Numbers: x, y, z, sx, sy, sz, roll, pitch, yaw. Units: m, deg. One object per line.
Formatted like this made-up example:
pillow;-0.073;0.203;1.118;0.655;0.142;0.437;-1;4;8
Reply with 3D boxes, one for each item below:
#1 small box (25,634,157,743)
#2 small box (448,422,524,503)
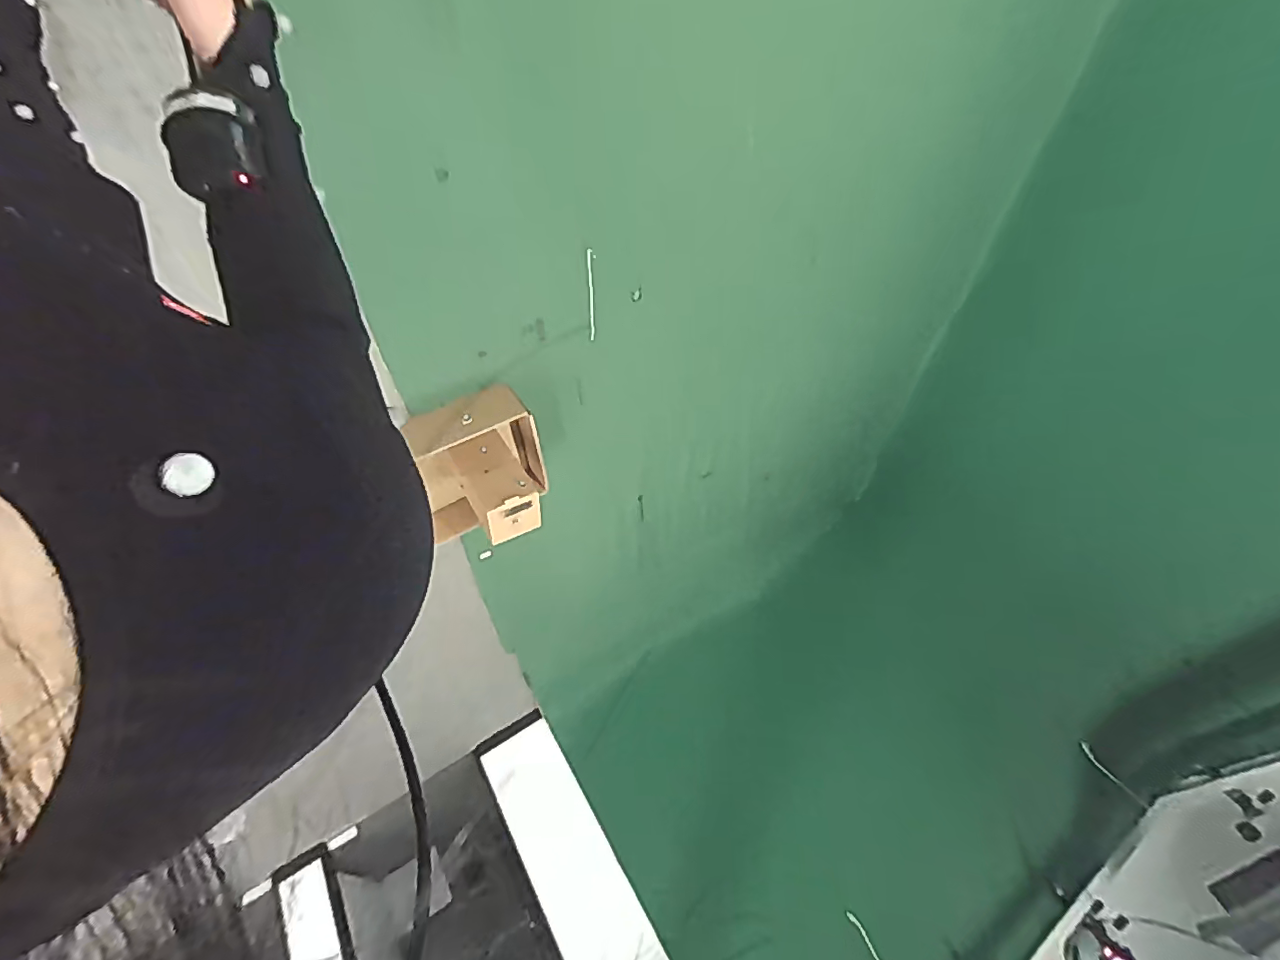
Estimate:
small box;-1.368;0.518;1.357;0.168;0.176;0.179;-29;146;-21
small box;-0.503;-0.064;1.773;0.179;0.176;0.168;-25;145;-20
